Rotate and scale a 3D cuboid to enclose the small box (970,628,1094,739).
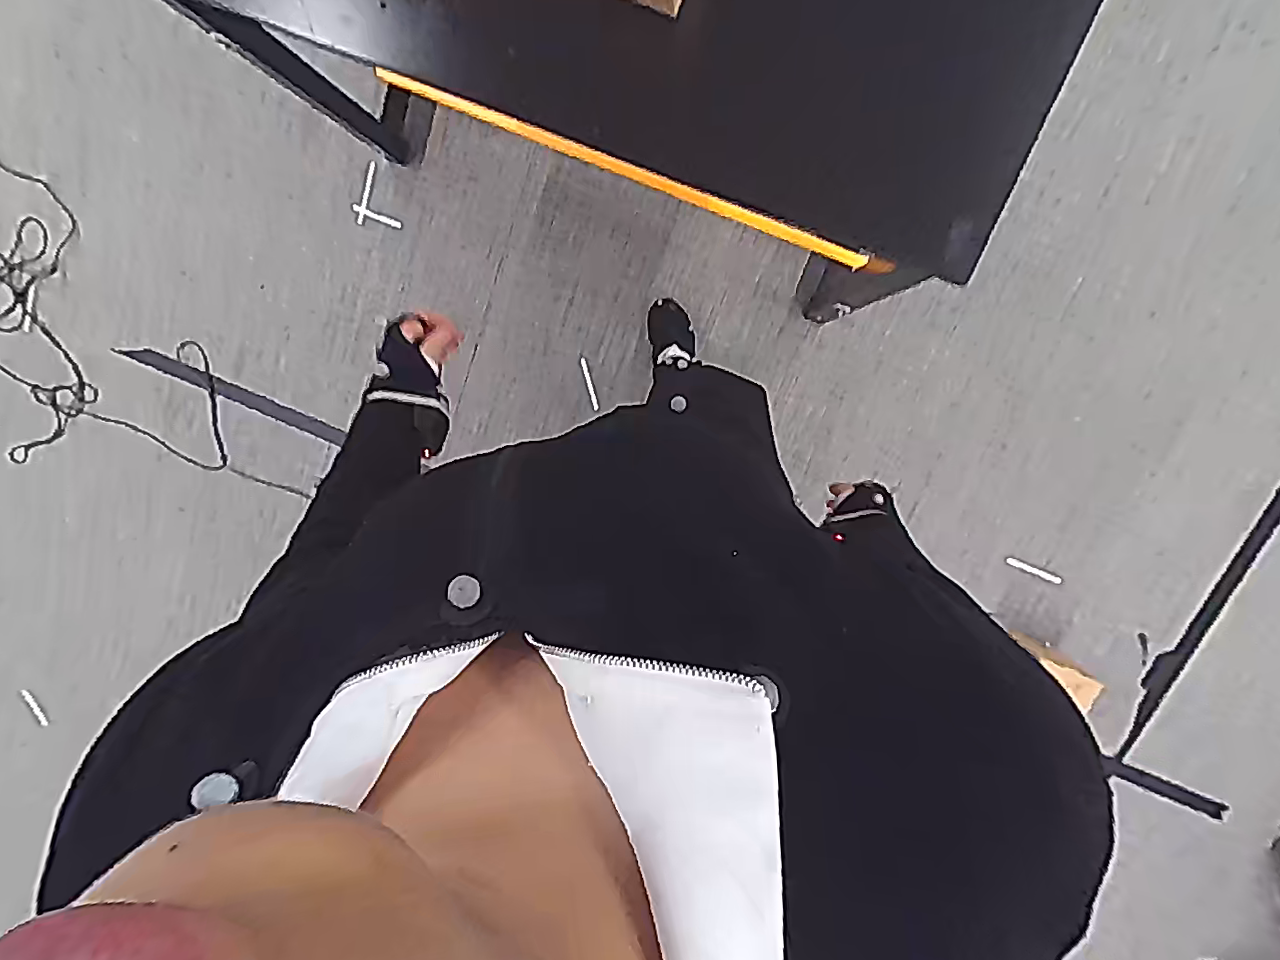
[{"bbox_3d":[1.001,0.521,1.404,0.168,0.176,0.179,23,102,0],"label":"small box"}]
